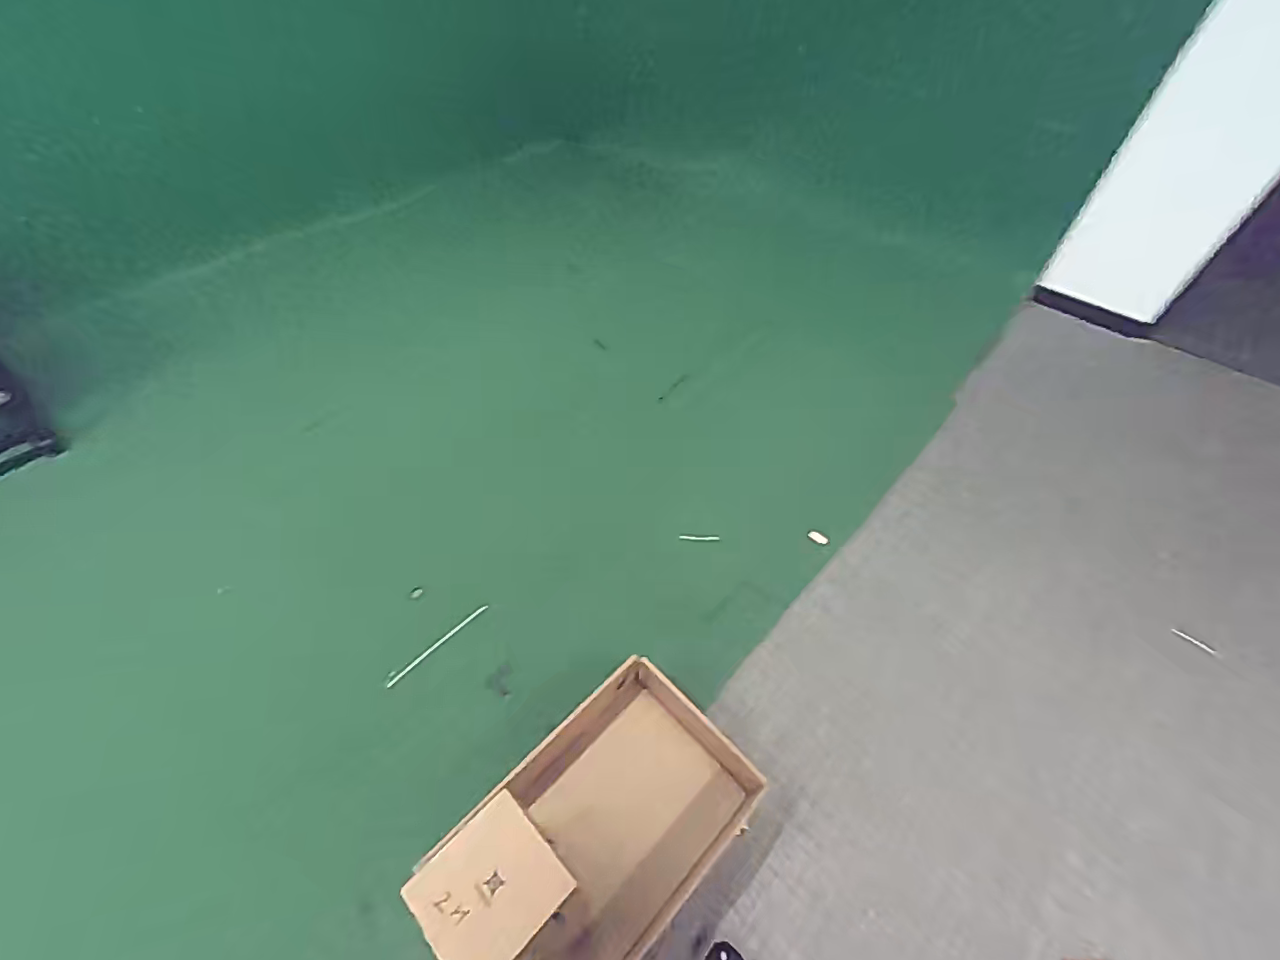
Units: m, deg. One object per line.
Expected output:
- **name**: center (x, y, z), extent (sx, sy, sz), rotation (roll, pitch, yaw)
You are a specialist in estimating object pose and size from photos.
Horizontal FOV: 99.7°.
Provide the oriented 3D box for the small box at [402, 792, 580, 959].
- **small box**: center (-0.203, 0.597, 0.782), extent (0.168, 0.176, 0.179), rotation (38, 59, 25)
